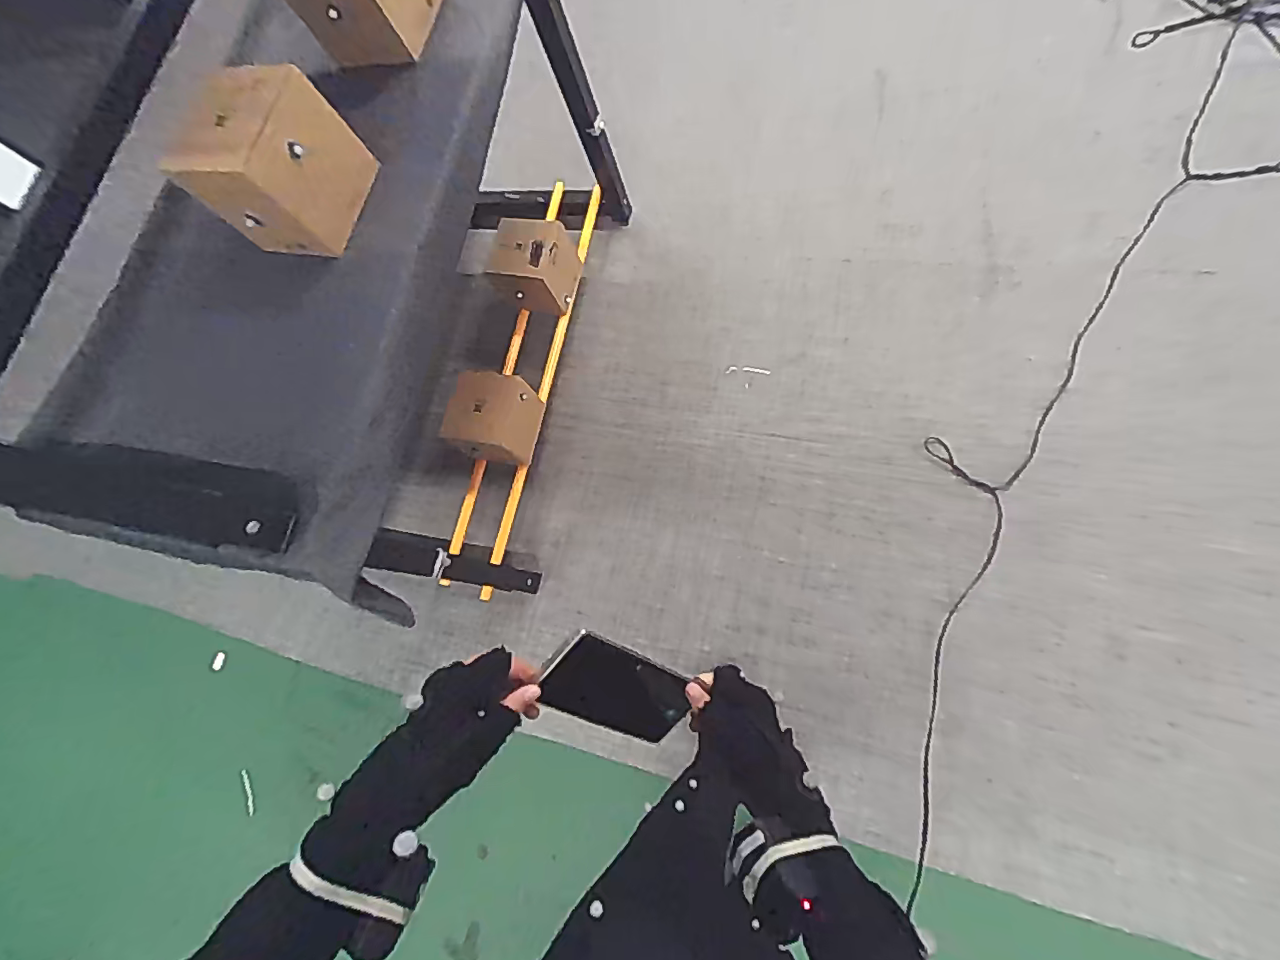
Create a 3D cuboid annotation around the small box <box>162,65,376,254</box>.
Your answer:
[{"bbox_3d":[-0.527,-0.459,0.794,0.168,0.176,0.179,12,77,17],"label":"small box"}]

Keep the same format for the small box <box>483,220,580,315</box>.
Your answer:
[{"bbox_3d":[-0.277,-0.555,1.428,0.179,0.176,0.168,12,77,17],"label":"small box"}]
